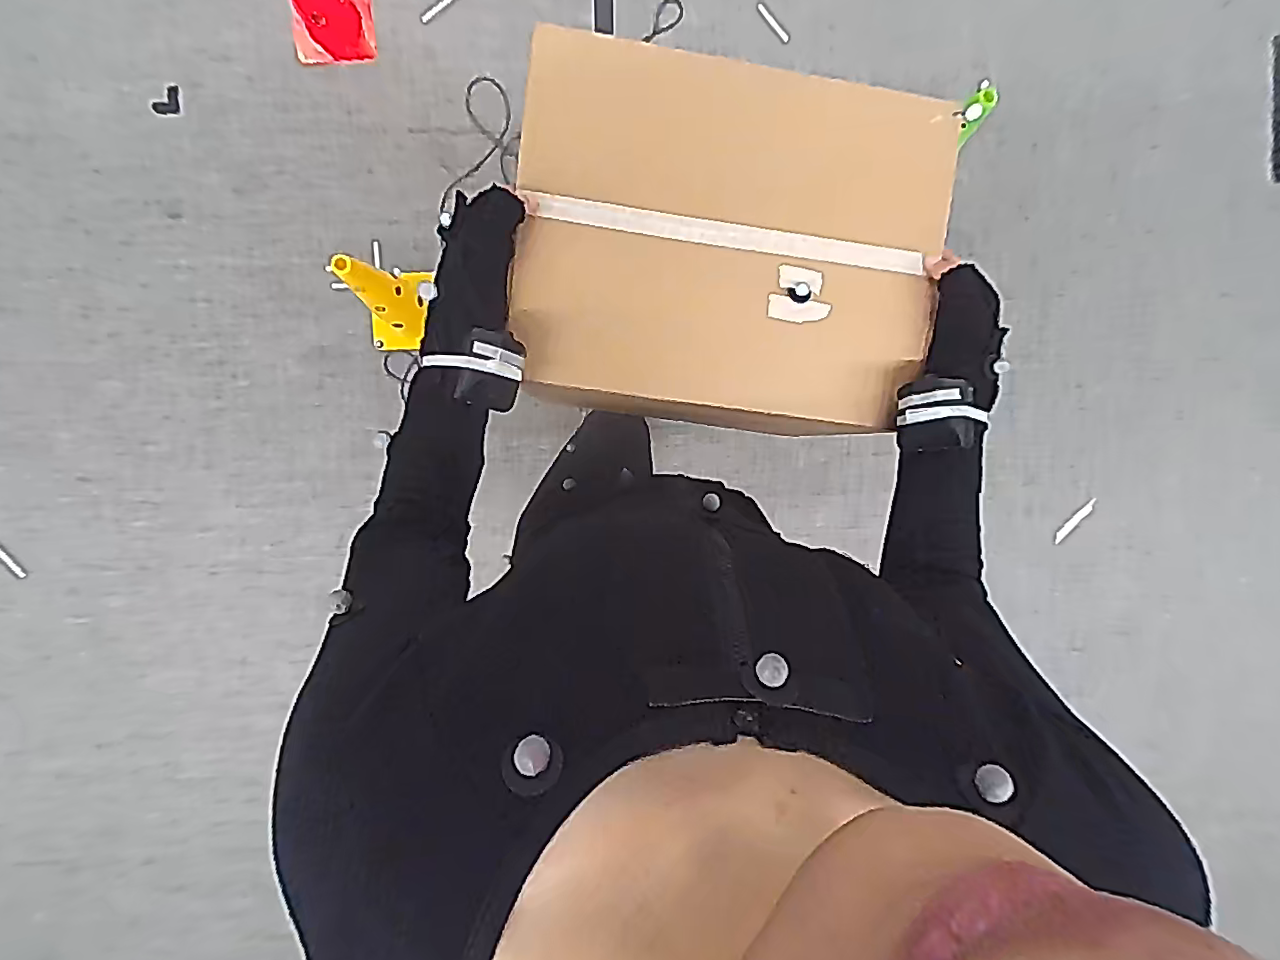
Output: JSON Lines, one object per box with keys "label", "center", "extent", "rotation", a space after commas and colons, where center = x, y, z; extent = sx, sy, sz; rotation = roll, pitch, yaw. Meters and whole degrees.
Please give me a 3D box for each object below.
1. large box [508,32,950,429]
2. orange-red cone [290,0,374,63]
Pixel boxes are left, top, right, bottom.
{"label": "large box", "center": [0.074, -0.241, 0.657], "extent": [0.408, 0.320, 0.320], "rotation": [7, 93, -5]}
{"label": "orange-red cone", "center": [-0.783, -1.162, 1.215], "extent": [0.198, 0.360, 0.199], "rotation": [-4, 94, -1]}
